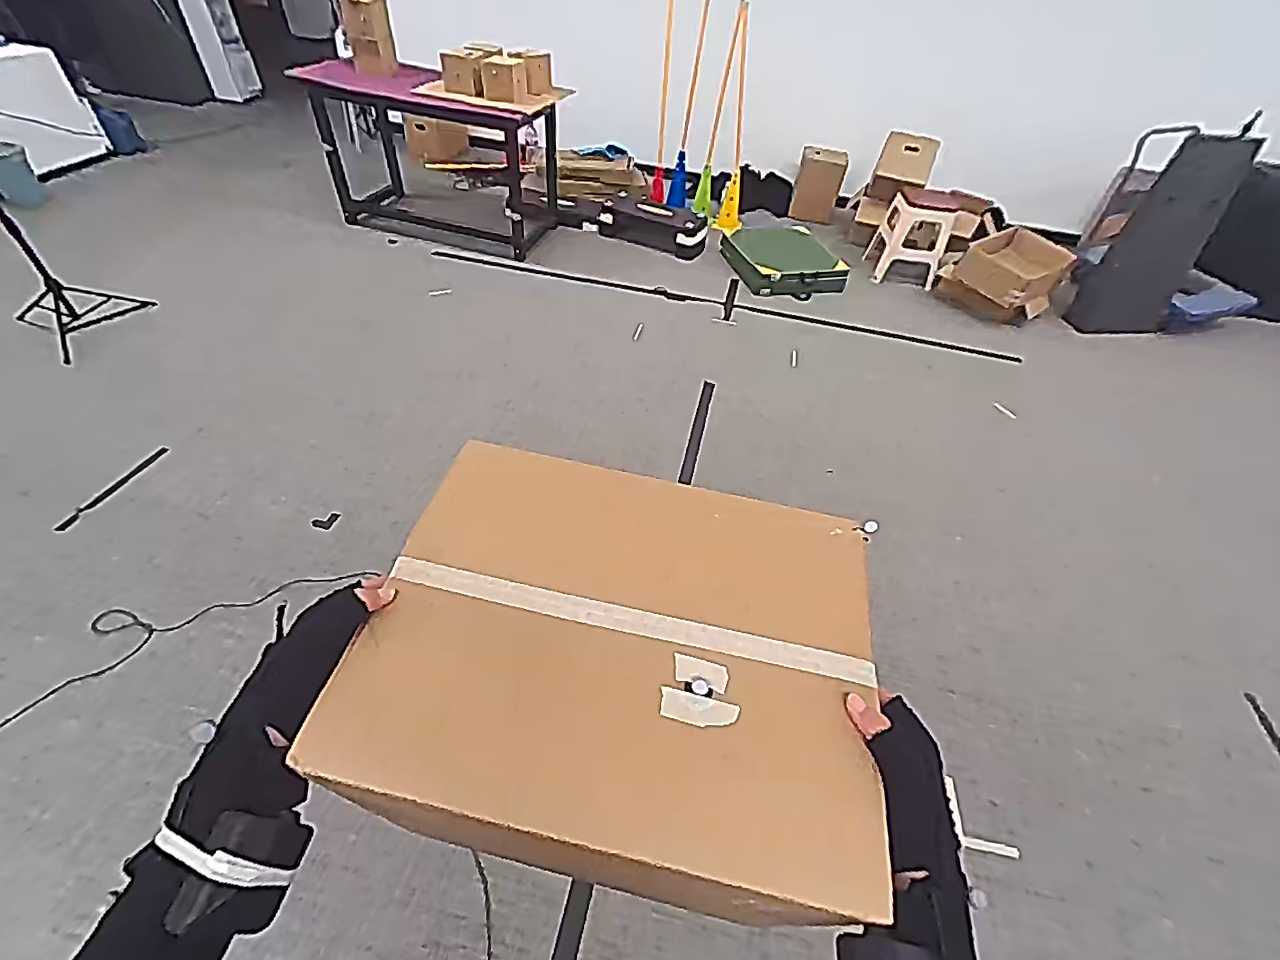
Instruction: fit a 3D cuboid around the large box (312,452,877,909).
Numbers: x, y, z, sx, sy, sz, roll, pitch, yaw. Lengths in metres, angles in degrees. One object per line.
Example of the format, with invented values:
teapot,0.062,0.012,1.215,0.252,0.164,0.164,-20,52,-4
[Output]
large box,-0.023,0.215,0.573,0.408,0.320,0.320,12,51,4
